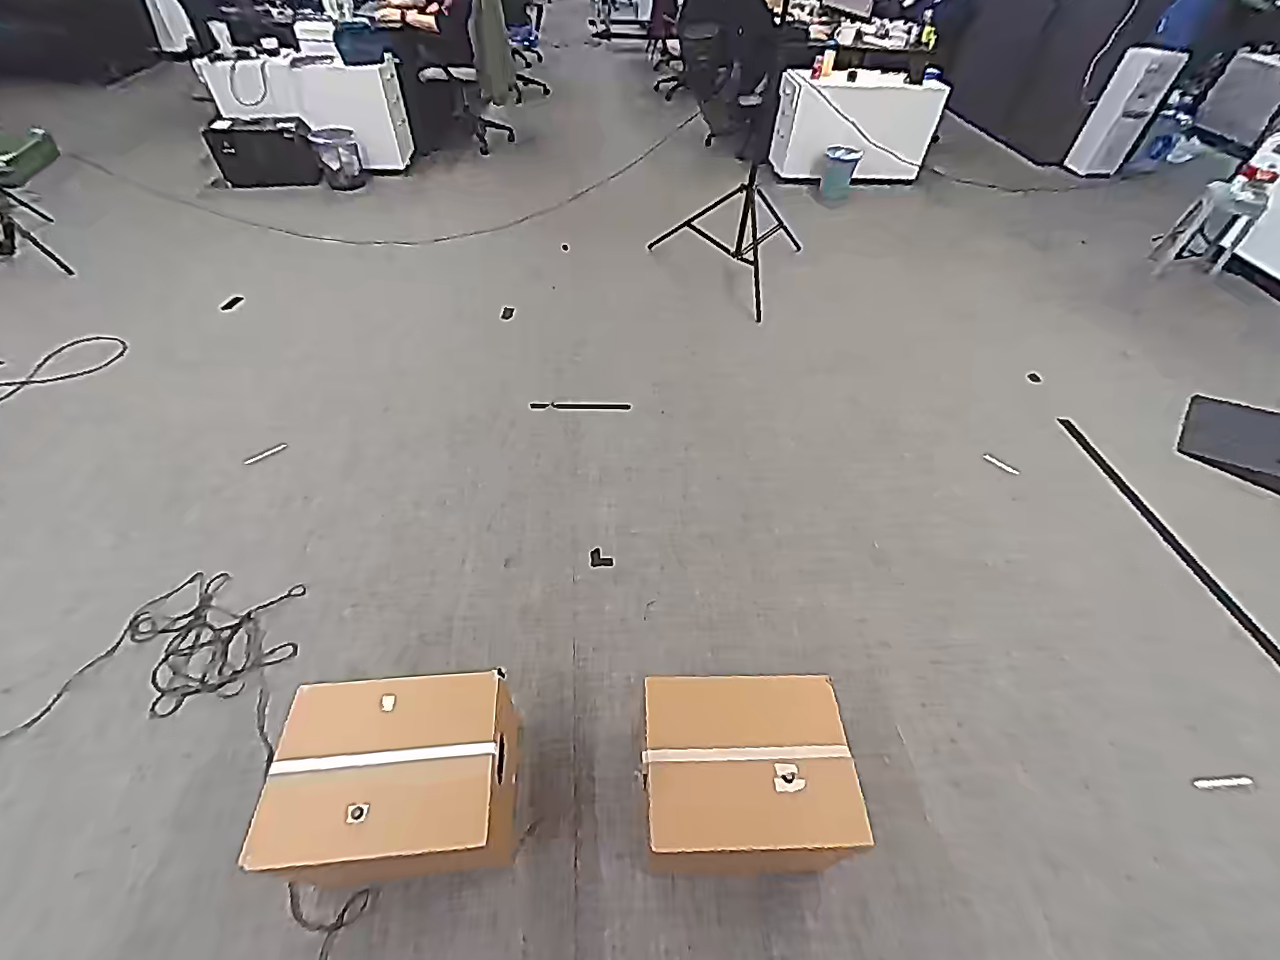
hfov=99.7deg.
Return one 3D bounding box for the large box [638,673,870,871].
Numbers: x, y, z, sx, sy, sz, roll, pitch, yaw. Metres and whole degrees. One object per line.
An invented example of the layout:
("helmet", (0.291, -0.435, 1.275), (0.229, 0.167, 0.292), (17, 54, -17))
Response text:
("large box", (0.208, 0.636, 1.177), (0.408, 0.320, 0.320), (1, 48, -4))
